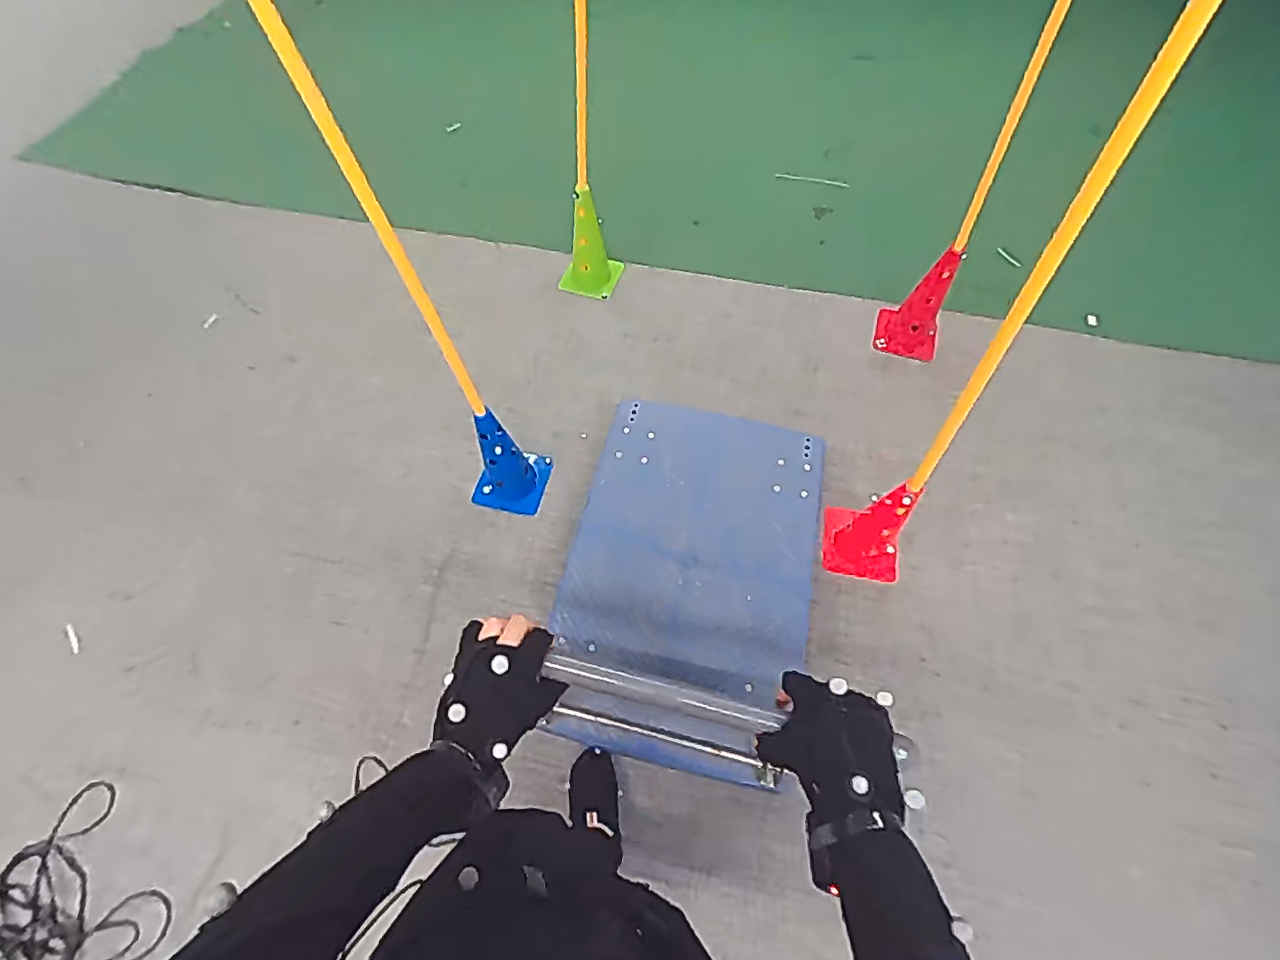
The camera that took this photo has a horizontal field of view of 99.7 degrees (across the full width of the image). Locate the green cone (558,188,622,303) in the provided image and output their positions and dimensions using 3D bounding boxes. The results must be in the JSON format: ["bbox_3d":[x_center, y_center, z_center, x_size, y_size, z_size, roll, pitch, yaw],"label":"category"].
[{"bbox_3d":[-0.187,-0.825,1.865,0.202,0.368,0.200,15,62,9],"label":"green cone"}]

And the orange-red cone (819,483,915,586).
[{"bbox_3d":[0.603,0.109,1.369,0.199,0.360,0.198,10,62,7],"label":"orange-red cone"}]
